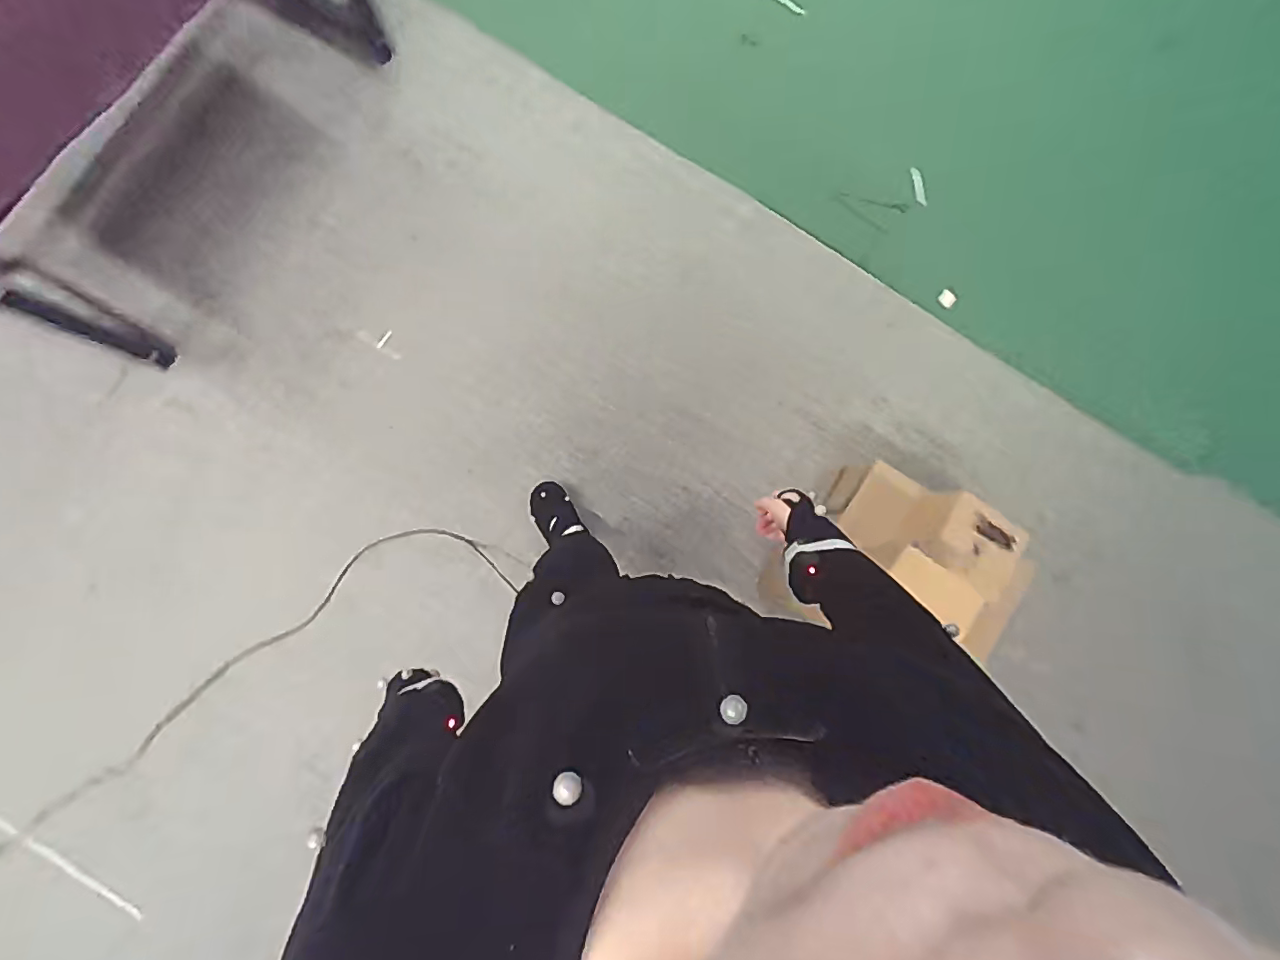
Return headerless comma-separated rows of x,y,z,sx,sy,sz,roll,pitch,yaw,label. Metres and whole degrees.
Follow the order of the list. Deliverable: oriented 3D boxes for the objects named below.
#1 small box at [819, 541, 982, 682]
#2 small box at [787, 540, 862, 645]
0.456,0.223,0.977,0.168,0.176,0.179,36,84,0,small box
0.445,0.236,1.140,0.179,0.176,0.168,35,83,0,small box
